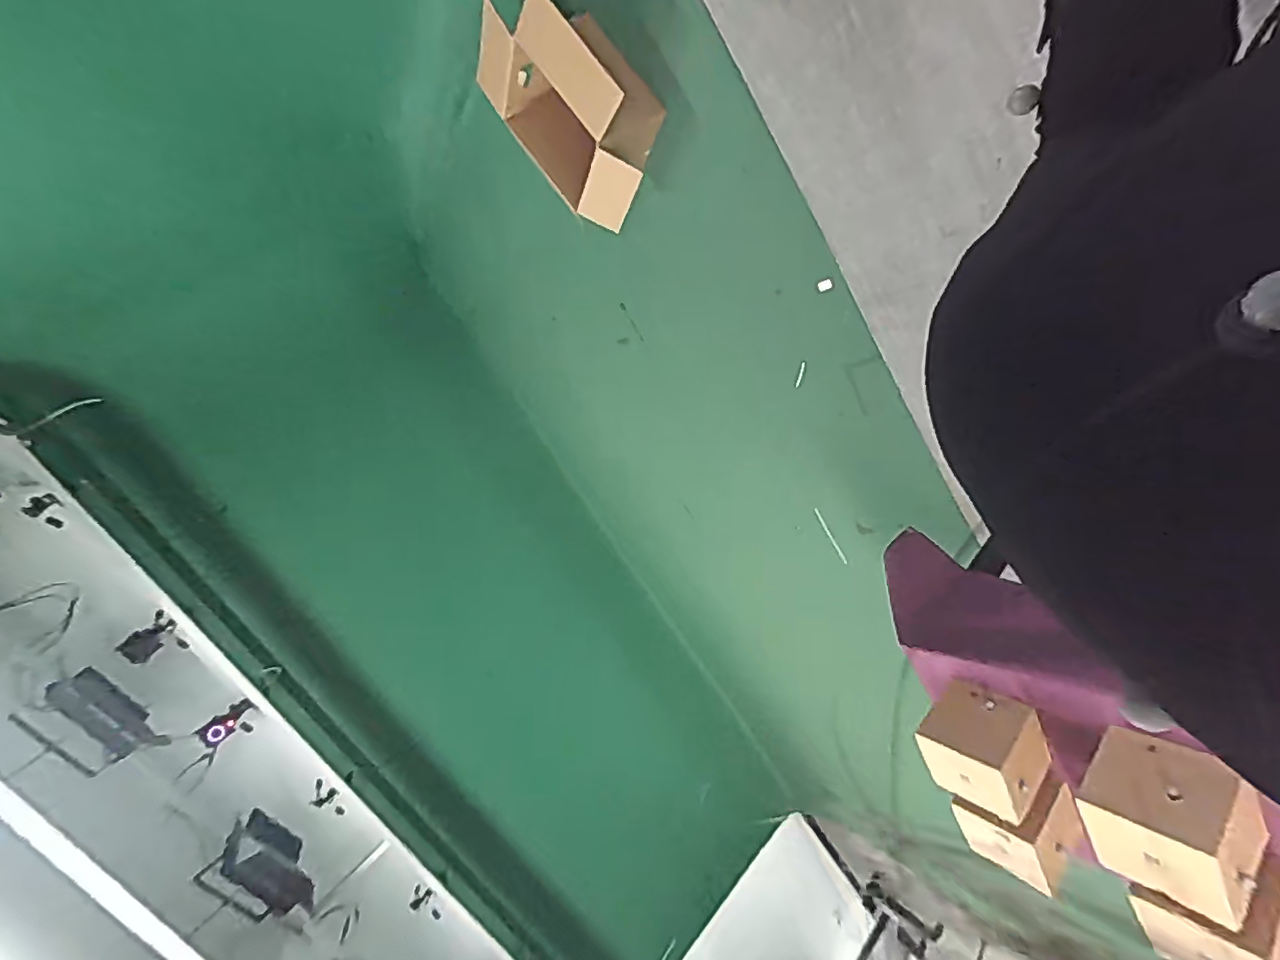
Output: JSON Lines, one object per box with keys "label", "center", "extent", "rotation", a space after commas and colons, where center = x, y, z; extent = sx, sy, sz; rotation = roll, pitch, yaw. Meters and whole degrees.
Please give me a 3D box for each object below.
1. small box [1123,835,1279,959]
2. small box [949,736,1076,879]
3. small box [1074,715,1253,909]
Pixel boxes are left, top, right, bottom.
{"label": "small box", "center": [0.979, 0.704, 0.923], "extent": [0.179, 0.176, 0.168], "rotation": [58, 155, -15]}
{"label": "small box", "center": [0.828, 0.714, 1.197], "extent": [0.168, 0.176, 0.179], "rotation": [3, 129, 58]}
{"label": "small box", "center": [0.853, 0.524, 0.881], "extent": [0.168, 0.176, 0.179], "rotation": [1, 126, 59]}
